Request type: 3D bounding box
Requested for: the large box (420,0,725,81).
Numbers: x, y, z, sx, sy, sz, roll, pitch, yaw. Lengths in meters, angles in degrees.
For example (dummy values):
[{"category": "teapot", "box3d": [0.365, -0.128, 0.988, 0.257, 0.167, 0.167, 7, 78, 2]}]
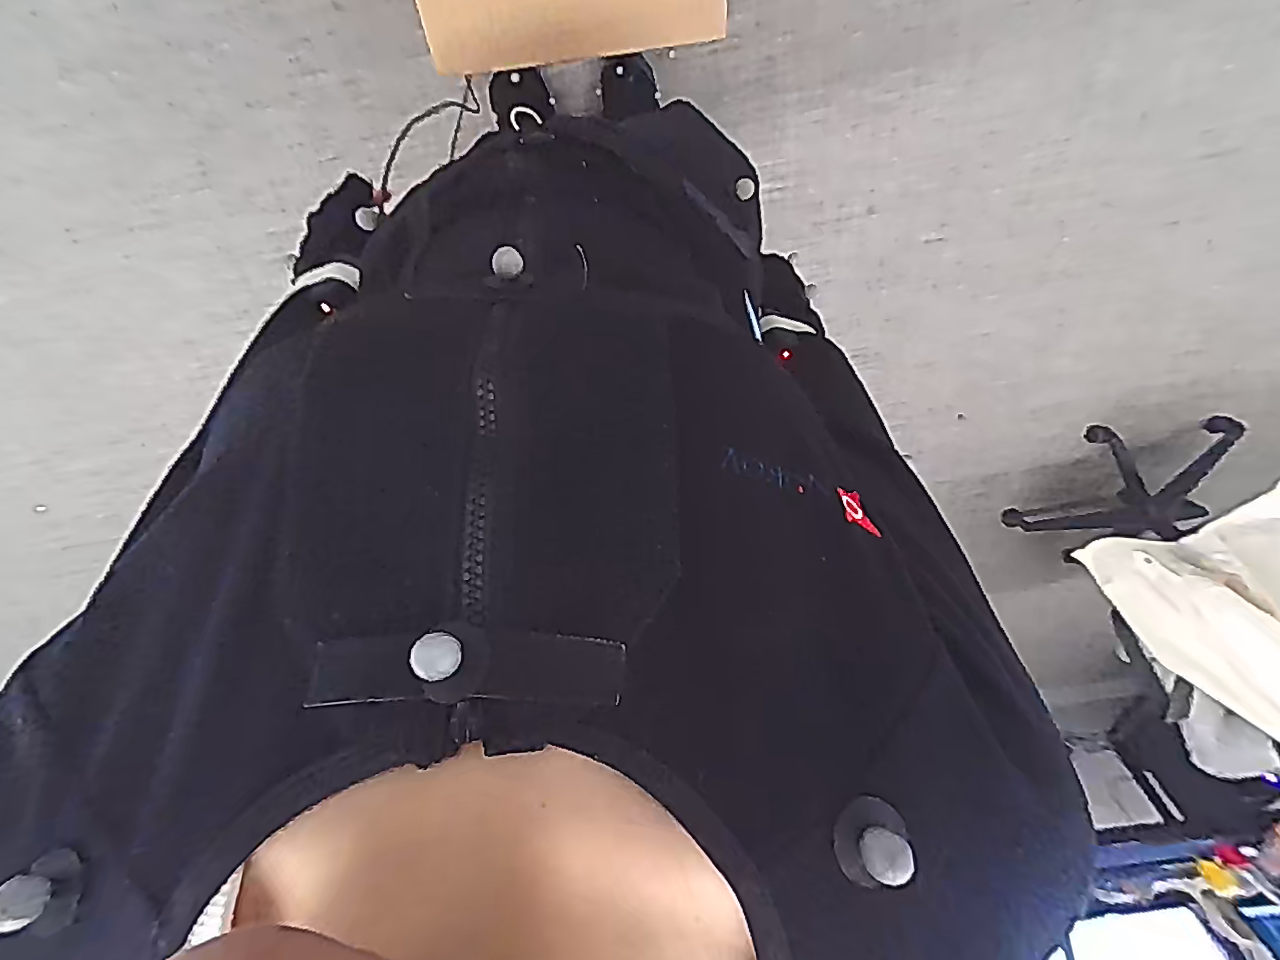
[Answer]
[{"category": "large box", "box3d": [-0.105, -0.795, 0.760, 0.408, 0.320, 0.320, -7, 131, 1]}]
